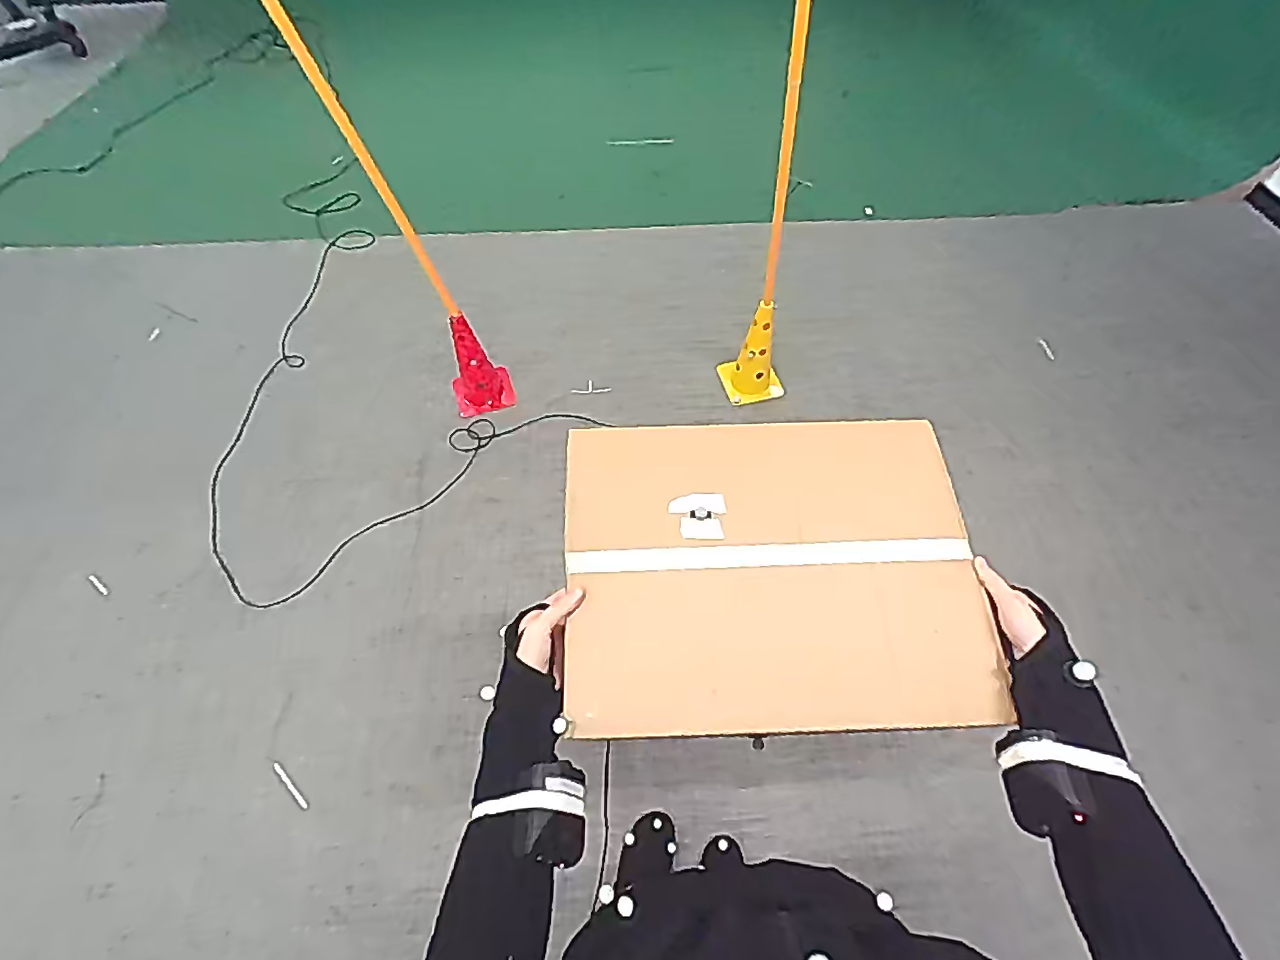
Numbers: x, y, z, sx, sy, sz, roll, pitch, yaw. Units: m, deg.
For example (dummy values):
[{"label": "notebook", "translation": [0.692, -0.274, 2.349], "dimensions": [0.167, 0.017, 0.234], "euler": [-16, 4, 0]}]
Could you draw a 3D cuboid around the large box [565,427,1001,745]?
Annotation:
[{"label": "large box", "translation": [0.128, 0.151, 0.684], "dimensions": [0.408, 0.320, 0.320], "euler": [-2, 64, 0]}]
